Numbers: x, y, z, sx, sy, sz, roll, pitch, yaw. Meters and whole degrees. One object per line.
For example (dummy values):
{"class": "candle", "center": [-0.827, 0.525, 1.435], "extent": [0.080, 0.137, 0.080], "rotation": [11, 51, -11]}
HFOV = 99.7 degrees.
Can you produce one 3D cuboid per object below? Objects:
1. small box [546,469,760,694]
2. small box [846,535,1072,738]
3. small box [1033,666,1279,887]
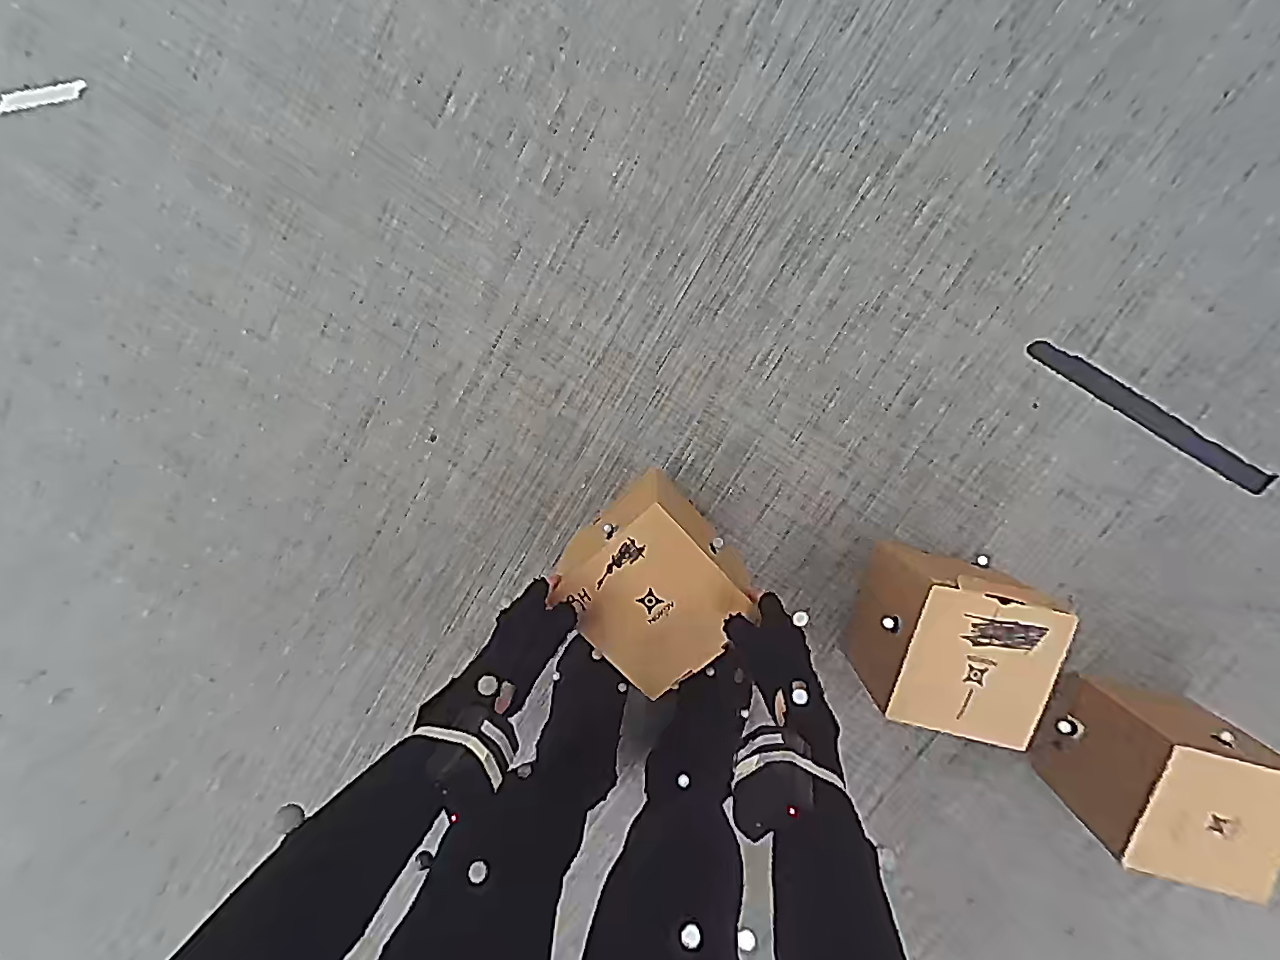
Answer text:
{"class": "small box", "center": [0.016, 0.110, 0.658], "extent": [0.168, 0.176, 0.179], "rotation": [-41, 100, 9]}
{"class": "small box", "center": [0.382, 0.183, 0.686], "extent": [0.168, 0.176, 0.179], "rotation": [12, 100, 2]}
{"class": "small box", "center": [0.669, 0.366, 0.698], "extent": [0.179, 0.176, 0.168], "rotation": [13, 99, 3]}
